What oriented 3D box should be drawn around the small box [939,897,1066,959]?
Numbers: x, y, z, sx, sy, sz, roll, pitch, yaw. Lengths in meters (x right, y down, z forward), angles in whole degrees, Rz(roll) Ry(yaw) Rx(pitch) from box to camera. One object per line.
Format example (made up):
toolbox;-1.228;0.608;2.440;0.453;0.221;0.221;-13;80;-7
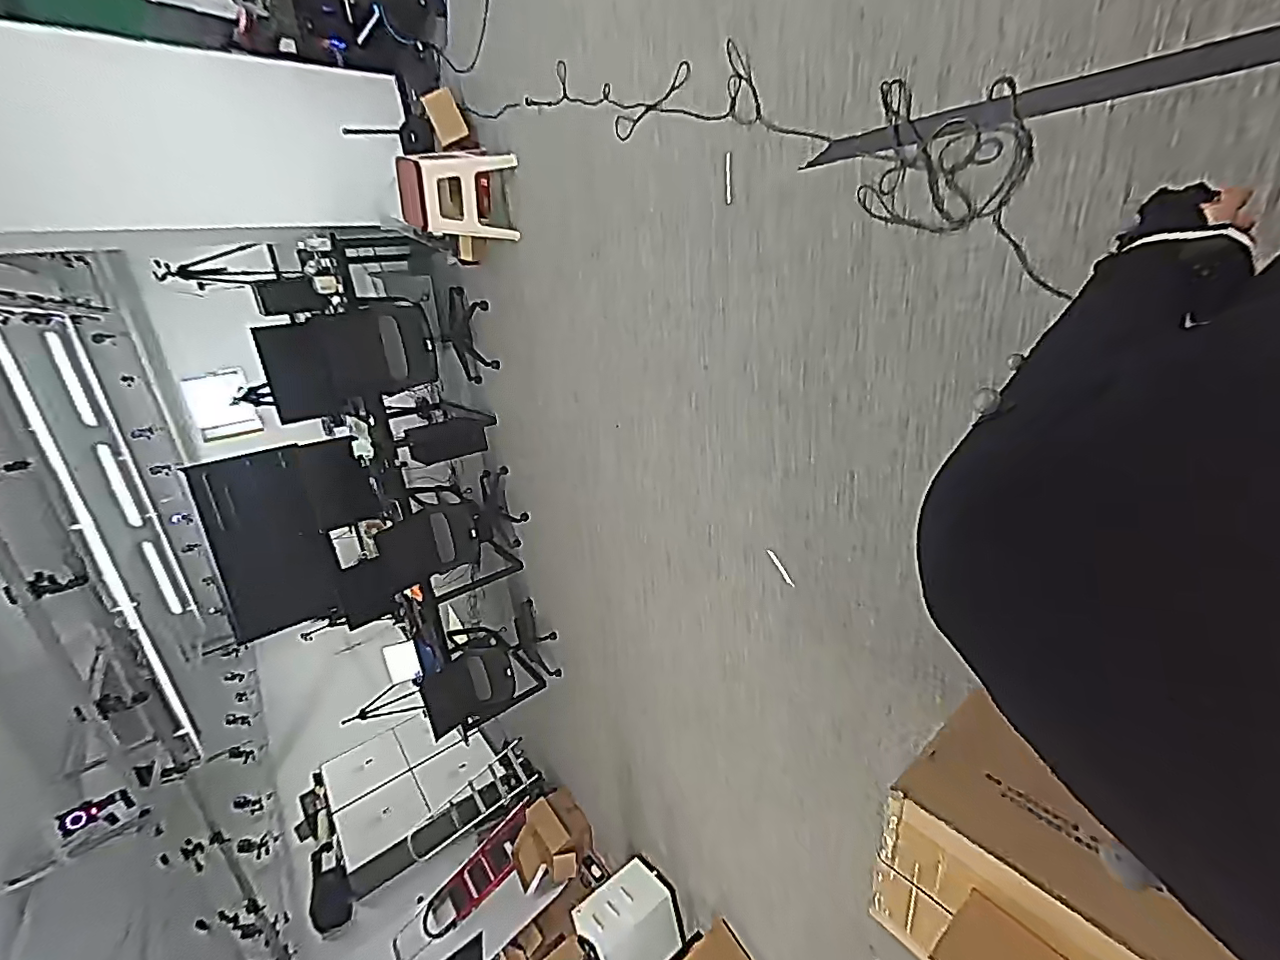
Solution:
small box;0.597;0.846;0.879;0.179;0.176;0.168;24;125;49
